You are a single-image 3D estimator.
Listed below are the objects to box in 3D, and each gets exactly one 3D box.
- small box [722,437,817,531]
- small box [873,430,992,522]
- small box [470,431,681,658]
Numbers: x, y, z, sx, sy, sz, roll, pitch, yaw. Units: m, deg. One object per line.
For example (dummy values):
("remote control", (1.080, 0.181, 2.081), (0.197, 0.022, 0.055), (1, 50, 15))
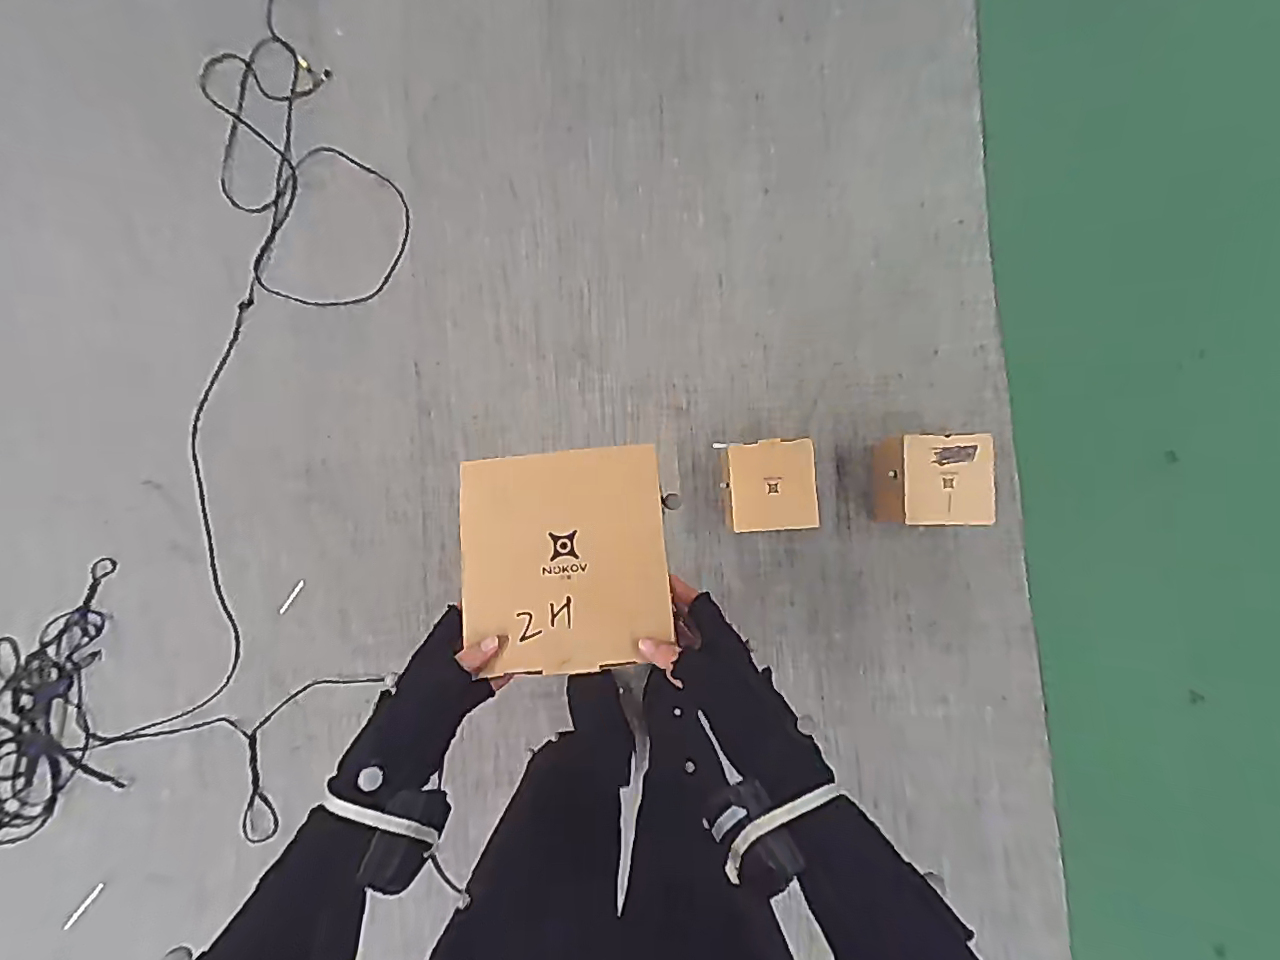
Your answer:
("small box", (0.264, 0.012, 1.134), (0.168, 0.176, 0.179), (-4, 85, 4))
("small box", (0.589, -0.003, 1.107), (0.168, 0.176, 0.179), (-1, 87, 5))
("small box", (-0.053, 0.066, 0.519), (0.168, 0.176, 0.179), (-6, 78, 2))
